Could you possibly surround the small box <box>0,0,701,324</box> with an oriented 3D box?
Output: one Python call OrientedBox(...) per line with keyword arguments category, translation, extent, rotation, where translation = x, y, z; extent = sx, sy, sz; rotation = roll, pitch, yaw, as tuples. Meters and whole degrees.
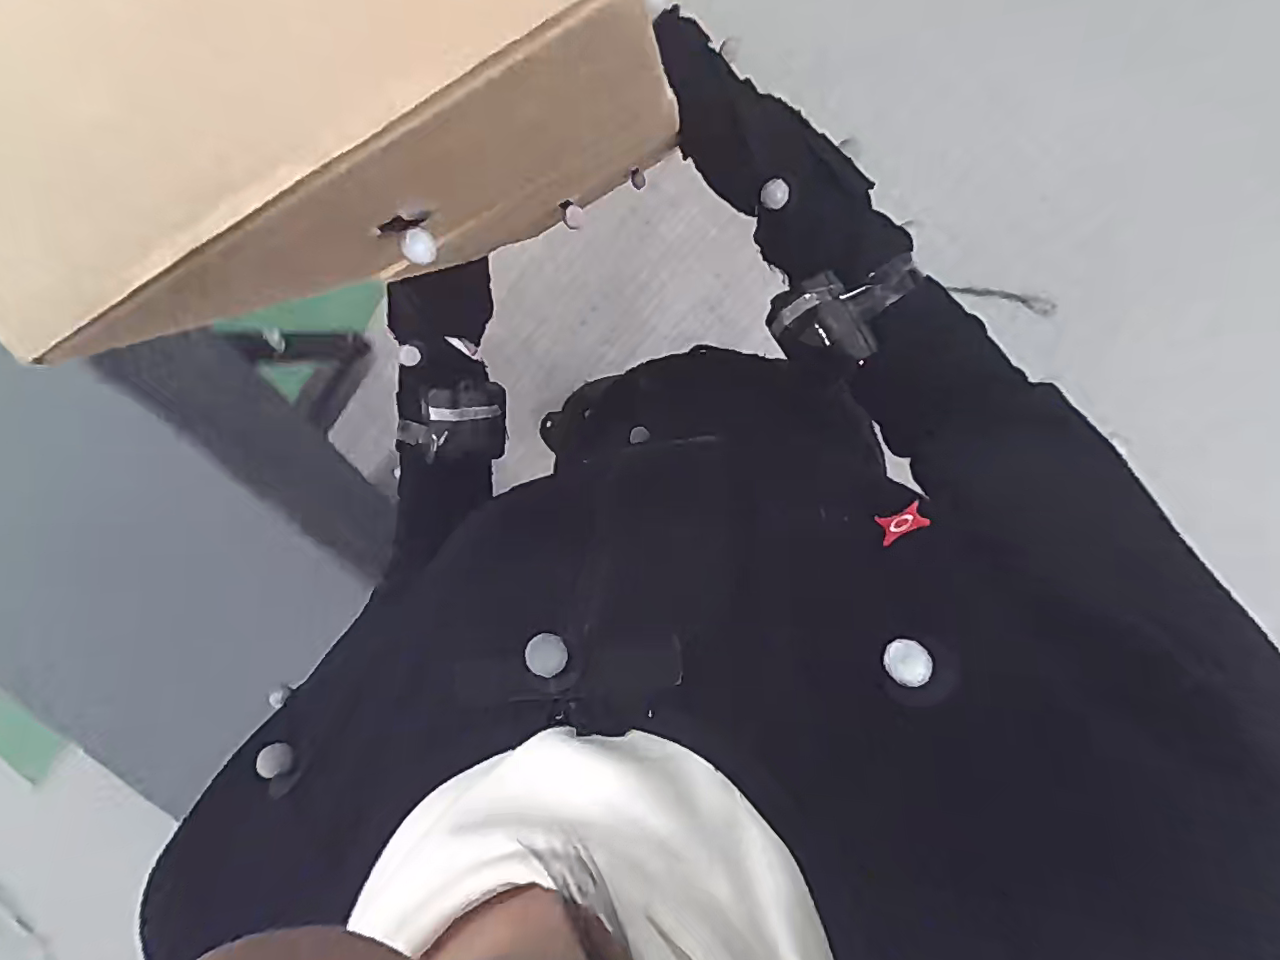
OrientedBox(category="small box", translation=(-0.090, -0.173, 0.157), extent=(0.179, 0.176, 0.168), rotation=(-23, 113, 16))
